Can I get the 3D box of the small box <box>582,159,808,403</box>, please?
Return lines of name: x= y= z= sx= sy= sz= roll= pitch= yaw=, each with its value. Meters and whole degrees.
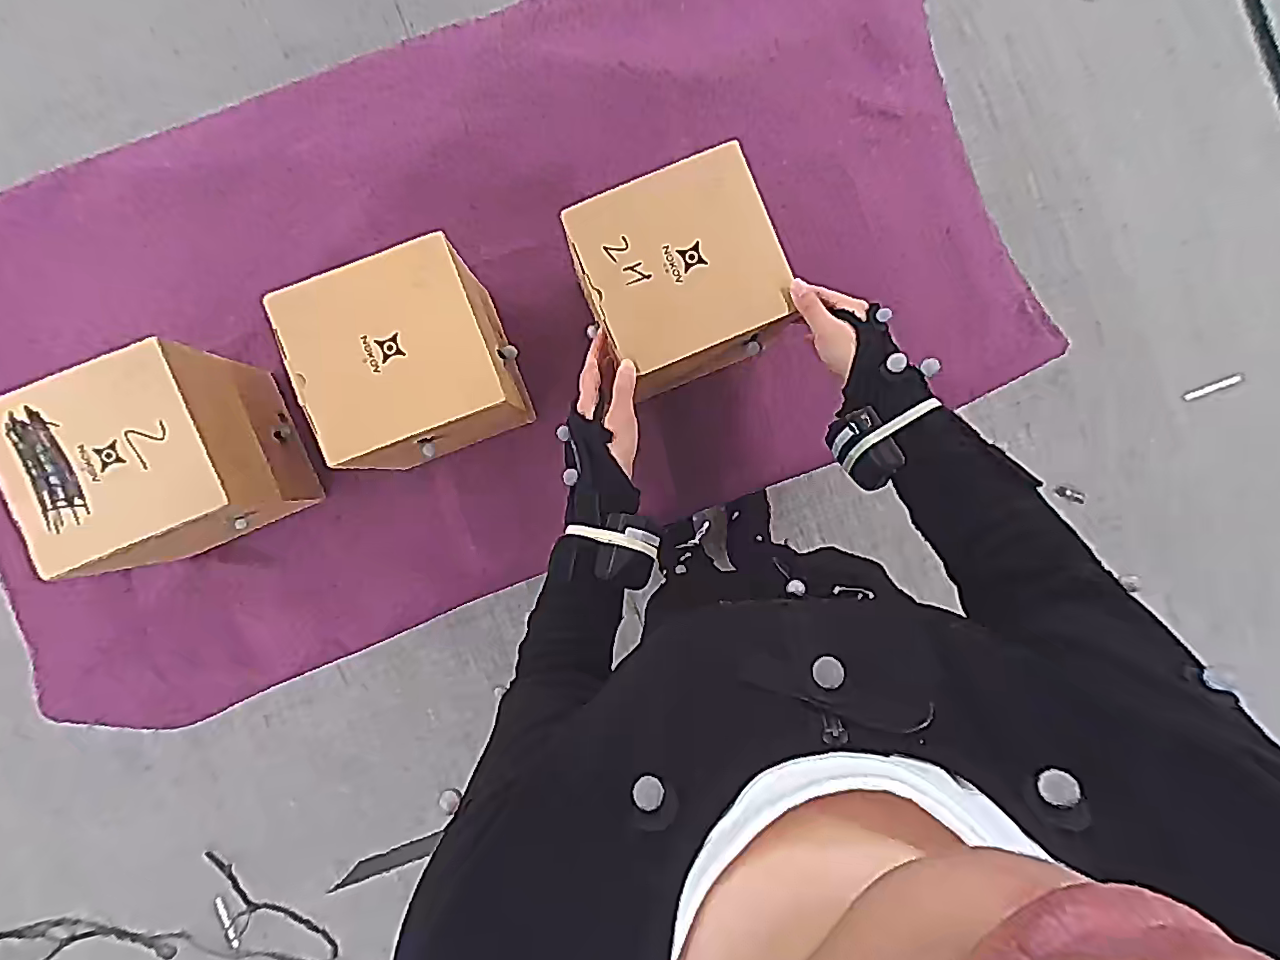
small box: x=0.049 y=-0.192 z=0.572 sx=0.179 sy=0.176 sz=0.168 roll=-17 pitch=89 yaw=0

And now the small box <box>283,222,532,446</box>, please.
small box: x=-0.224 y=-0.138 z=0.576 sx=0.179 sy=0.176 sz=0.168 roll=-16 pitch=90 yaw=0
